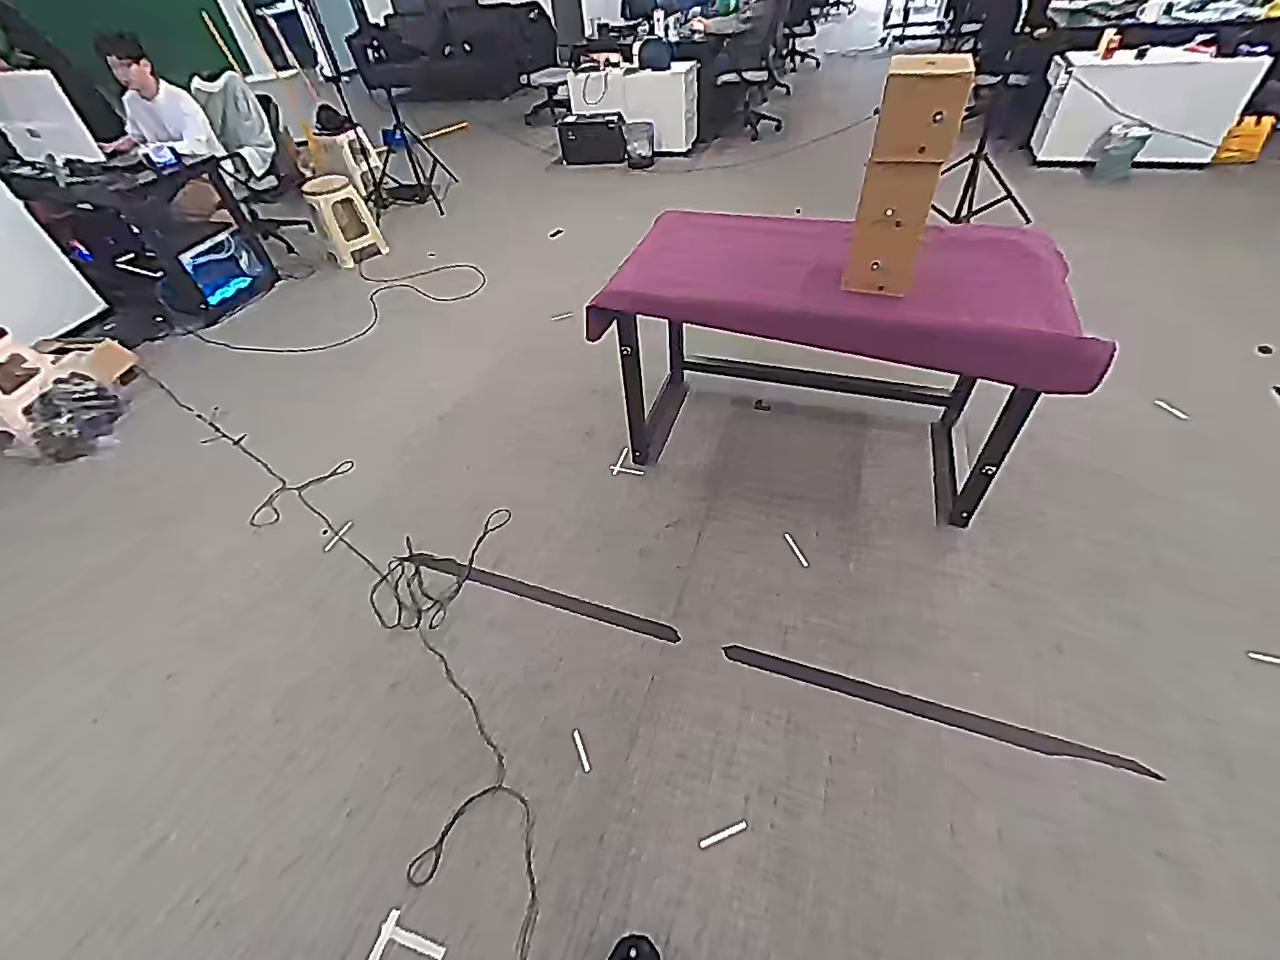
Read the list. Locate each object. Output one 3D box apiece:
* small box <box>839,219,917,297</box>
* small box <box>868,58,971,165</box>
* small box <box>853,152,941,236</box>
[{"bbox_3d":[0.647,-0.616,1.464,0.168,0.176,0.179,14,49,18],"label":"small box"},{"bbox_3d":[0.621,-0.827,1.216,0.168,0.176,0.179,12,48,15],"label":"small box"},{"bbox_3d":[0.639,-0.731,1.347,0.168,0.176,0.179,13,50,18],"label":"small box"}]
